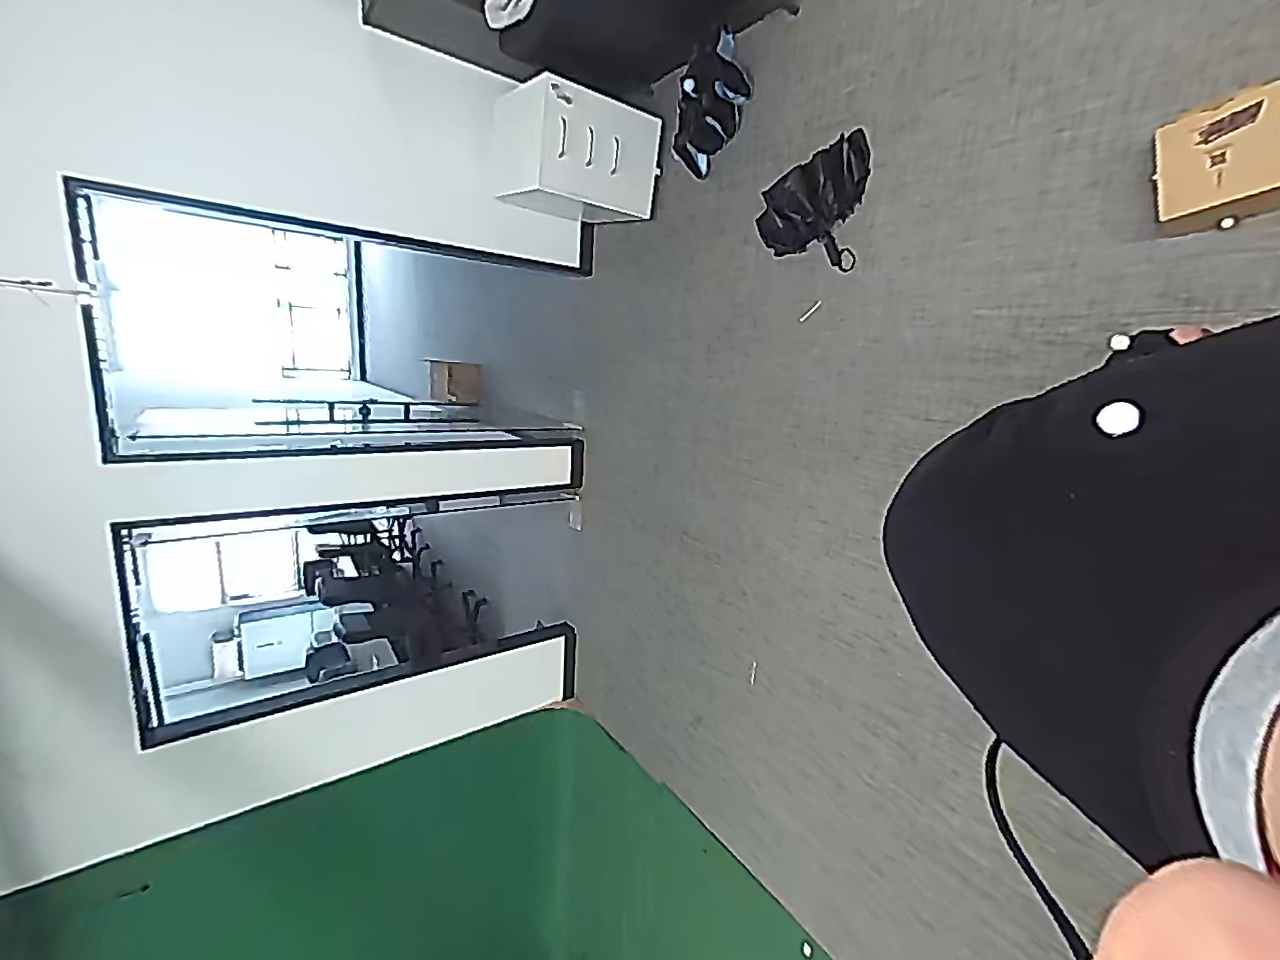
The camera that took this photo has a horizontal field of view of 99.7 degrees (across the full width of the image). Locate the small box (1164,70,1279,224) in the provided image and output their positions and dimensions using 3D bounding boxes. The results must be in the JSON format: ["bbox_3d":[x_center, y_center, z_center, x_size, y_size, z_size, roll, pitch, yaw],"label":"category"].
[{"bbox_3d":[1.100,-0.601,0.997,0.168,0.176,0.179,-1,94,55],"label":"small box"}]
